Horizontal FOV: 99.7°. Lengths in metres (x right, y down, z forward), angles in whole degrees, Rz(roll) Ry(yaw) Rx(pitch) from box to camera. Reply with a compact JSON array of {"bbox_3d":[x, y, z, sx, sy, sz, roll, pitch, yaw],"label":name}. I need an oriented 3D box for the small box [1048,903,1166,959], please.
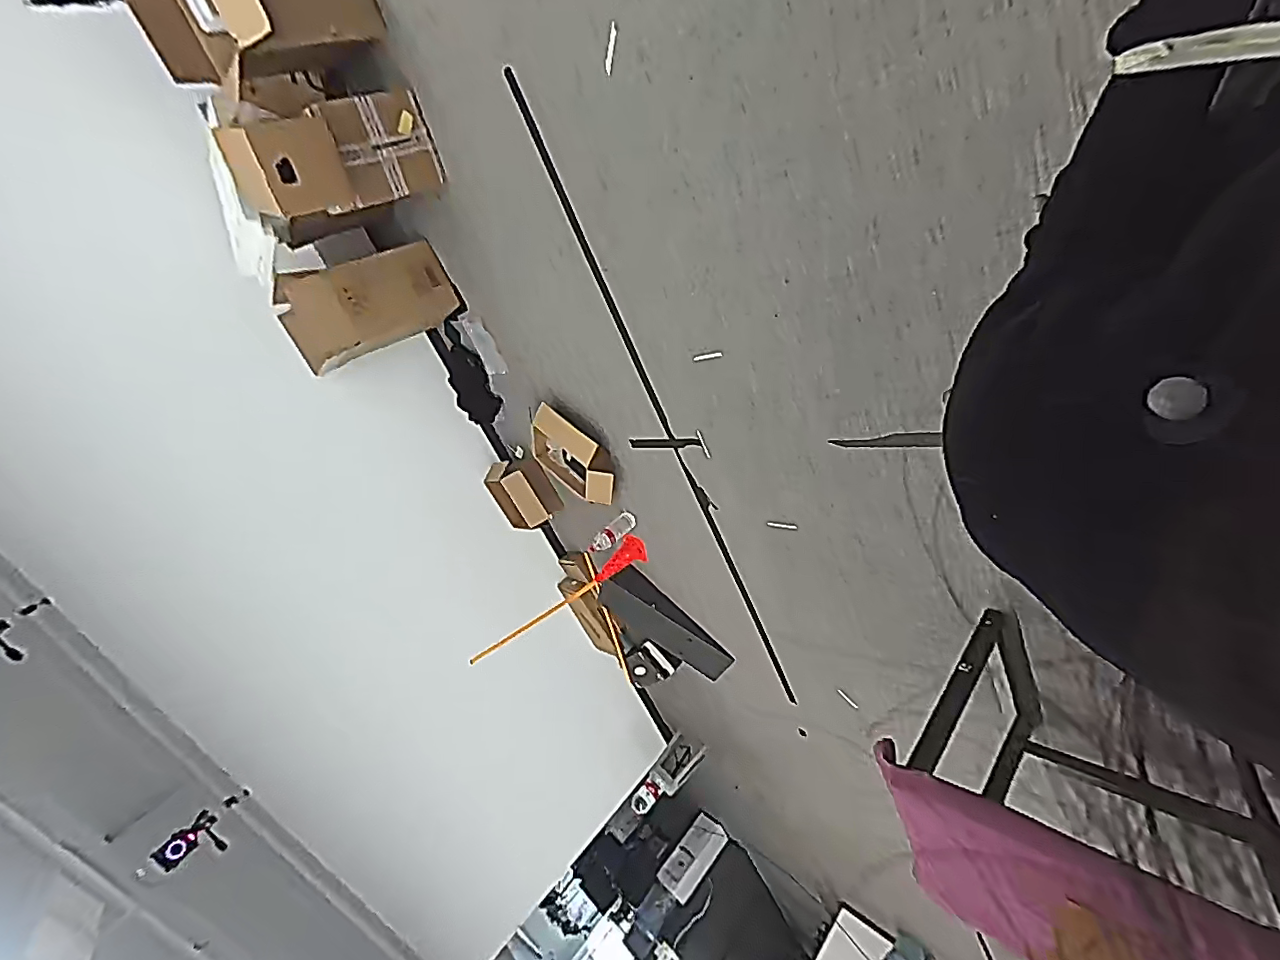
[{"bbox_3d":[0.985,1.060,1.141,0.179,0.176,0.168,7,127,52],"label":"small box"}]
